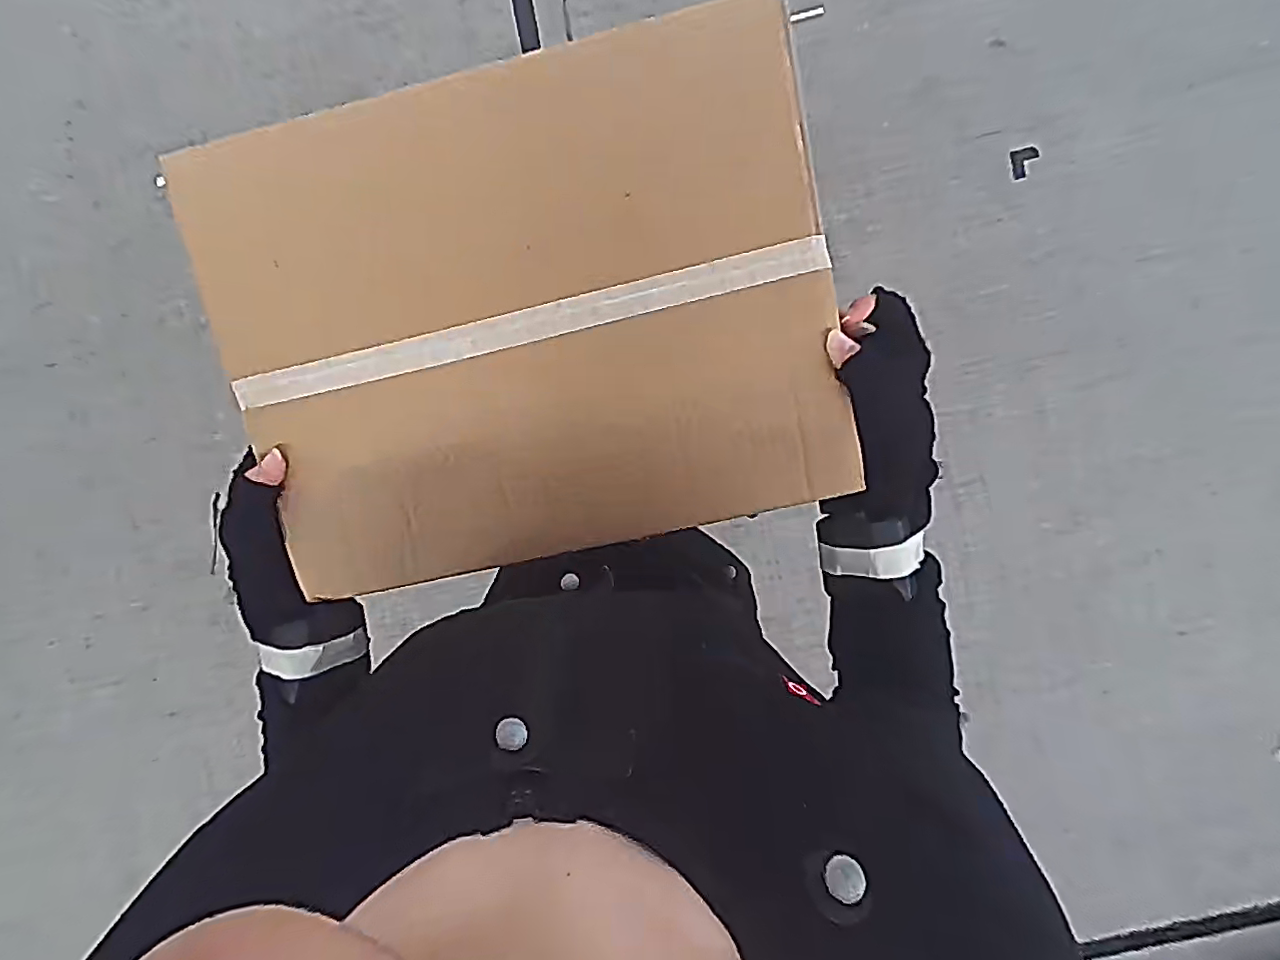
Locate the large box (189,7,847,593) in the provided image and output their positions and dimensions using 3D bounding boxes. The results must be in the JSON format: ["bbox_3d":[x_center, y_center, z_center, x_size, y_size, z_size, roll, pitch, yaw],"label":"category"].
[{"bbox_3d":[-0.072,-0.128,0.517,0.408,0.320,0.320,-12,98,5],"label":"large box"}]
